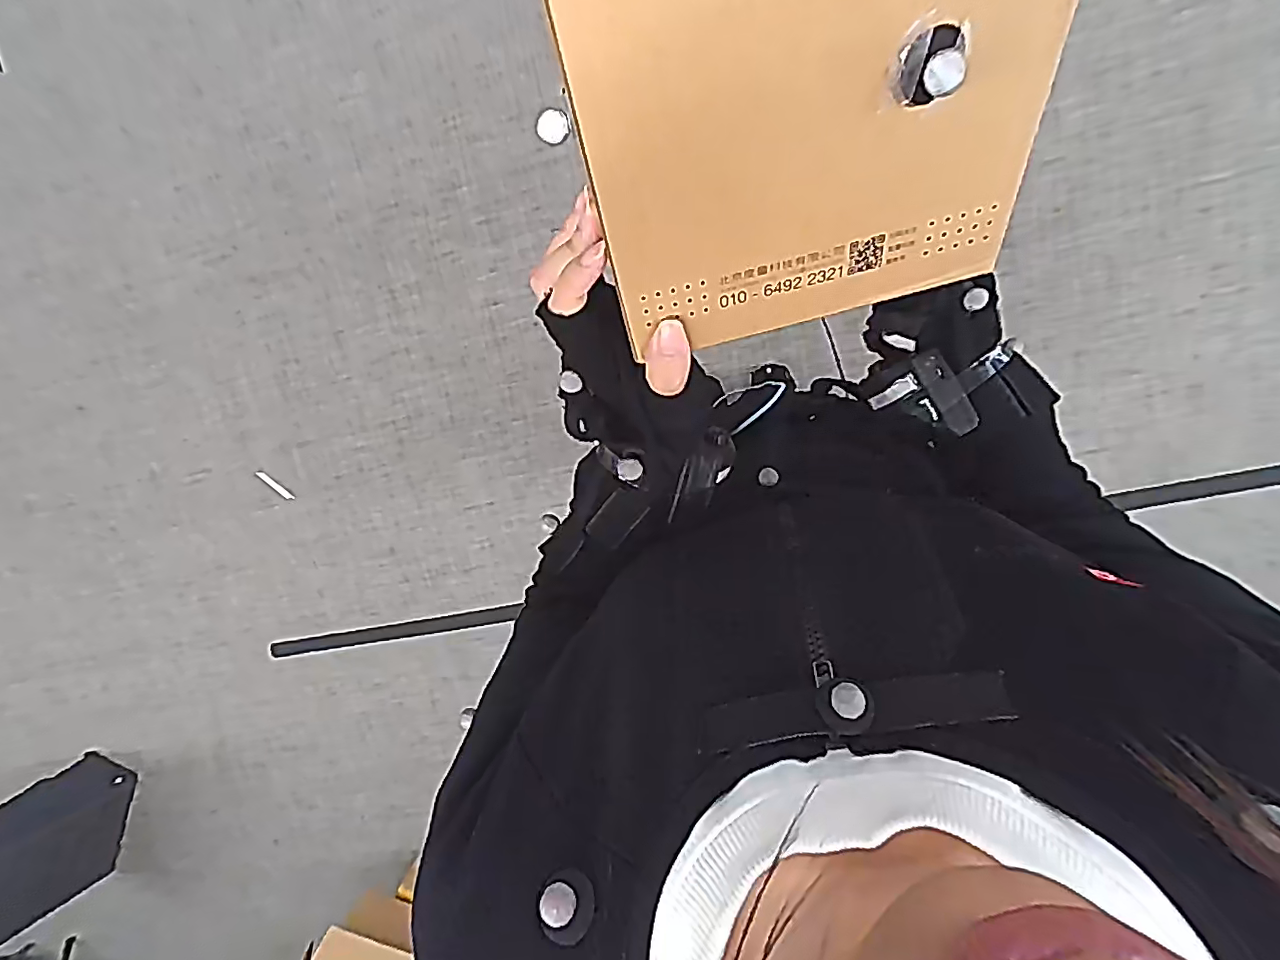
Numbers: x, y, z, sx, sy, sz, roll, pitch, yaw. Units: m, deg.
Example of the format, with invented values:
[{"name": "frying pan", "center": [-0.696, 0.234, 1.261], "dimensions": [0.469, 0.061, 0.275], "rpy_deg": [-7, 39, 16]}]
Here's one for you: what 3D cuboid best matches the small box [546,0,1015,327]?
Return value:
[{"name": "small box", "center": [0.051, -0.193, 0.261], "dimensions": [0.168, 0.179, 0.176], "rpy_deg": [-13, 138, 3]}]
